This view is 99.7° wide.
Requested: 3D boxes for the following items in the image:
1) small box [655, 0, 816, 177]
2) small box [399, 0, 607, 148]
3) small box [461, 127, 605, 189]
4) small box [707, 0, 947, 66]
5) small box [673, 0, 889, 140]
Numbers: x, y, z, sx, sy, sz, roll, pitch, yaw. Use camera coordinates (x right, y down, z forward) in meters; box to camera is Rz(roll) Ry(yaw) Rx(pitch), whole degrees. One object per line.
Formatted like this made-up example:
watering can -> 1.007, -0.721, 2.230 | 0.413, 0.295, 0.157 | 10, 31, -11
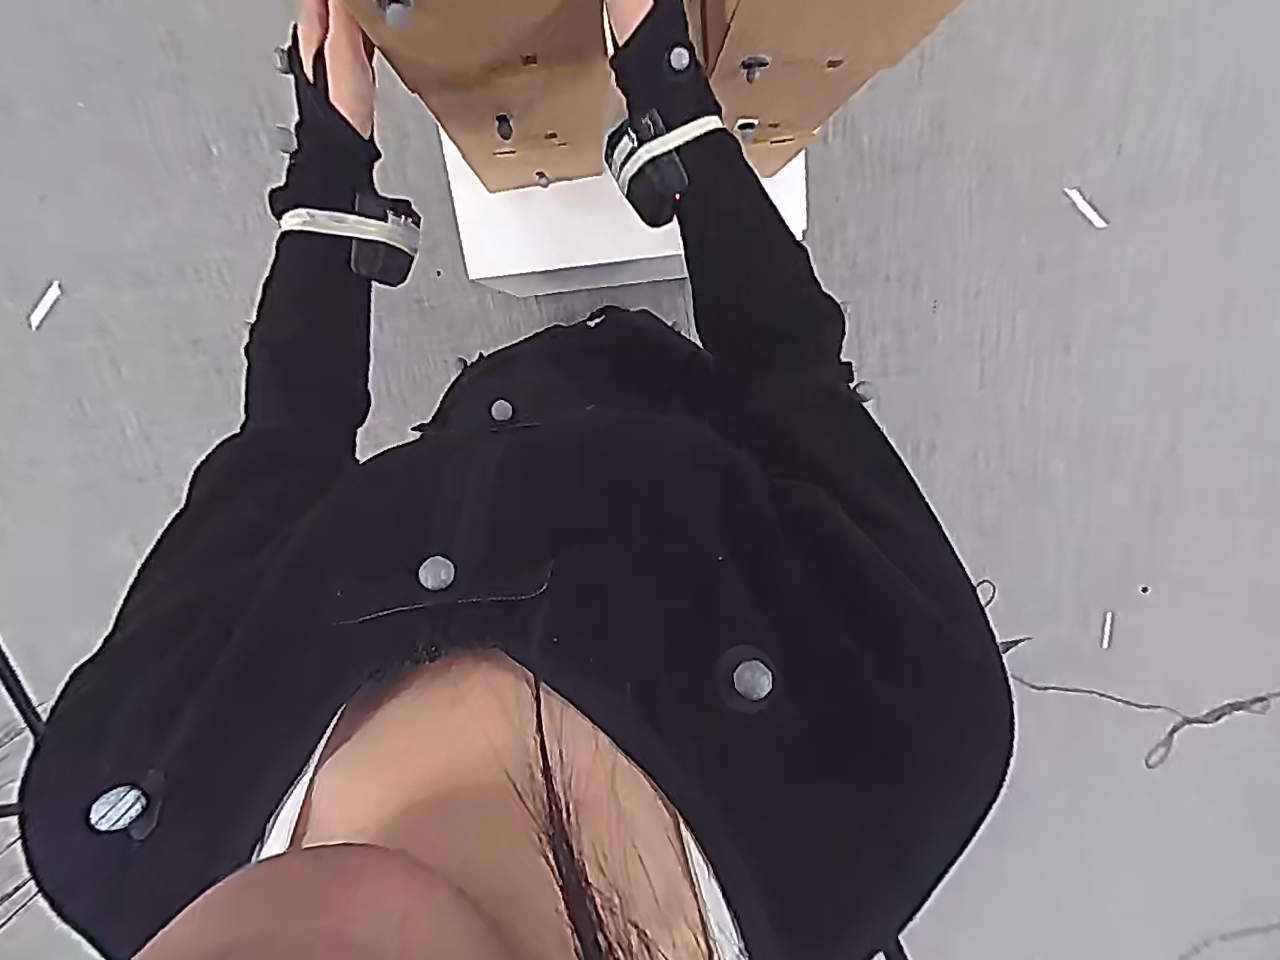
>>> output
small box -> 0.114, -0.498, 0.684 | 0.168, 0.176, 0.179 | -7, 108, -3
small box -> -0.123, -0.438, 0.512 | 0.168, 0.176, 0.179 | -10, 105, -3
small box -> -0.140, -0.484, 0.667 | 0.168, 0.176, 0.179 | -10, 107, -2
small box -> 0.138, -0.415, 0.369 | 0.168, 0.176, 0.179 | -5, 105, -2
small box -> 0.126, -0.462, 0.526 | 0.168, 0.176, 0.179 | -7, 107, -1
